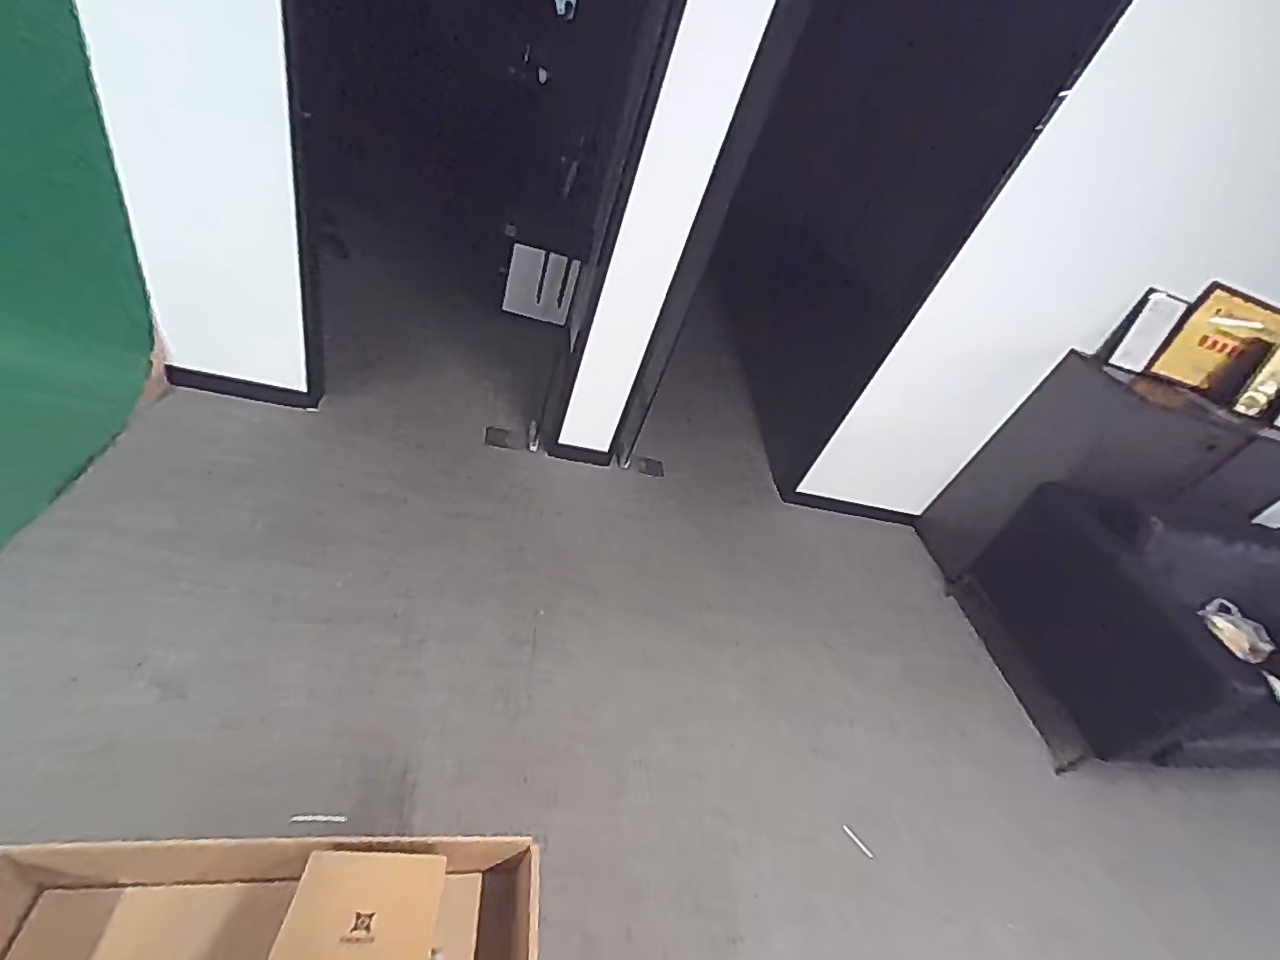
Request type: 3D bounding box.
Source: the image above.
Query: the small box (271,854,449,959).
[{"bbox_3d":[-0.336,0.586,0.631,0.168,0.176,0.179,13,15,-14],"label":"small box"}]
